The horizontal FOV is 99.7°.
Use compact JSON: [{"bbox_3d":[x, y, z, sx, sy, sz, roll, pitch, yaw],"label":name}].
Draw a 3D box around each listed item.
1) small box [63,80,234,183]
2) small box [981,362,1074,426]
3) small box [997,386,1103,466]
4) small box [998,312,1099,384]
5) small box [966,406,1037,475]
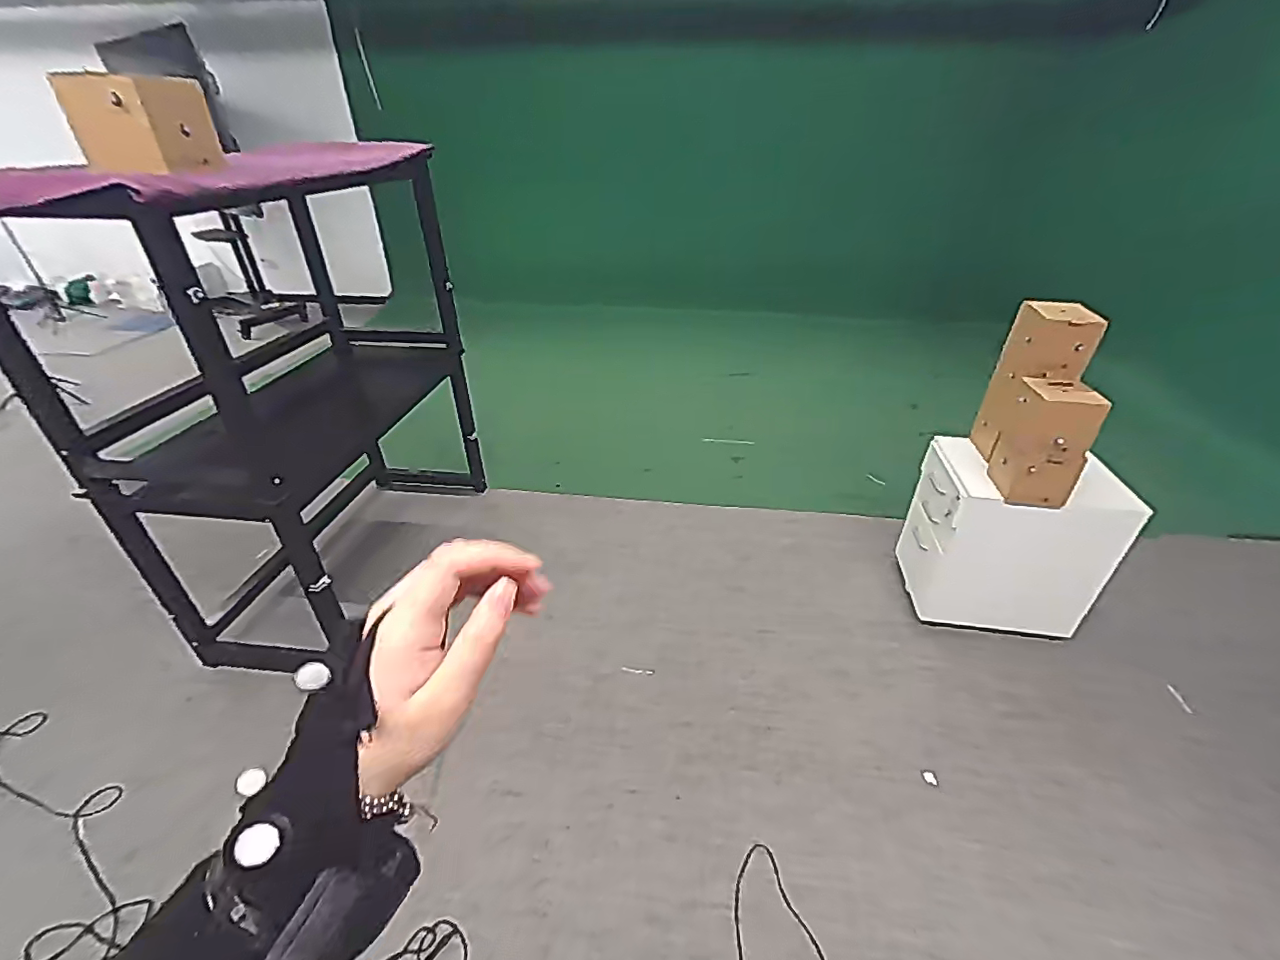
[{"bbox_3d":[-1.006,-0.723,1.128,0.179,0.176,0.168,4,31,5],"label":"small box"},{"bbox_3d":[1.257,-0.275,1.772,0.168,0.176,0.179,6,35,8],"label":"small box"},{"bbox_3d":[1.189,-0.160,1.587,0.168,0.176,0.179,6,32,7],"label":"small box"},{"bbox_3d":[1.257,-0.409,1.680,0.168,0.176,0.179,6,34,6],"label":"small box"},{"bbox_3d":[1.258,-0.138,1.862,0.168,0.176,0.179,5,34,6],"label":"small box"}]
